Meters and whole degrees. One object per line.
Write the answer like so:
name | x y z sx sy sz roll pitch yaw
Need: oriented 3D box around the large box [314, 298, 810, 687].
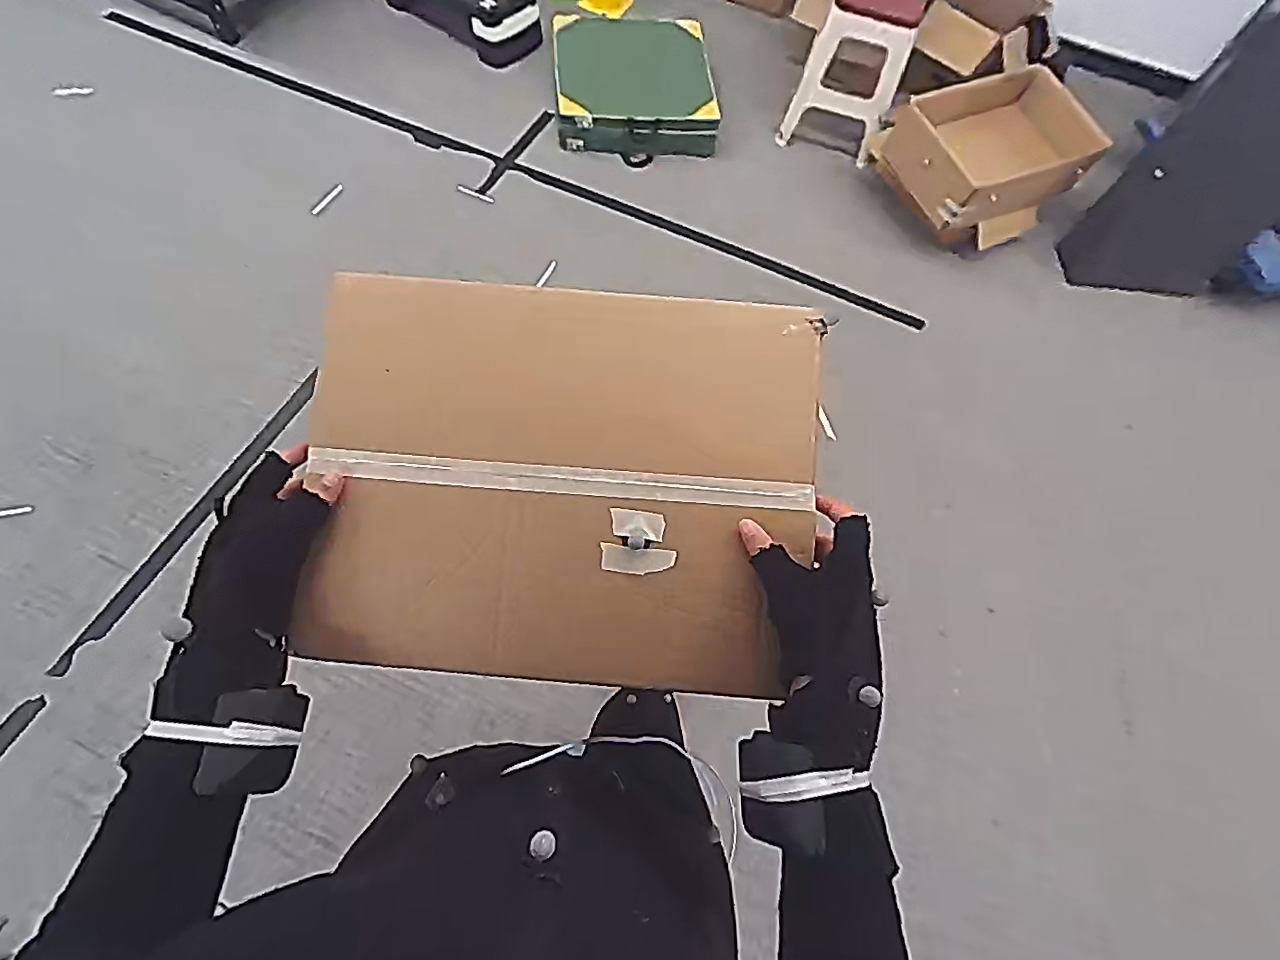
large box | -0.061 0.019 0.602 0.408 0.320 0.320 4 86 0
